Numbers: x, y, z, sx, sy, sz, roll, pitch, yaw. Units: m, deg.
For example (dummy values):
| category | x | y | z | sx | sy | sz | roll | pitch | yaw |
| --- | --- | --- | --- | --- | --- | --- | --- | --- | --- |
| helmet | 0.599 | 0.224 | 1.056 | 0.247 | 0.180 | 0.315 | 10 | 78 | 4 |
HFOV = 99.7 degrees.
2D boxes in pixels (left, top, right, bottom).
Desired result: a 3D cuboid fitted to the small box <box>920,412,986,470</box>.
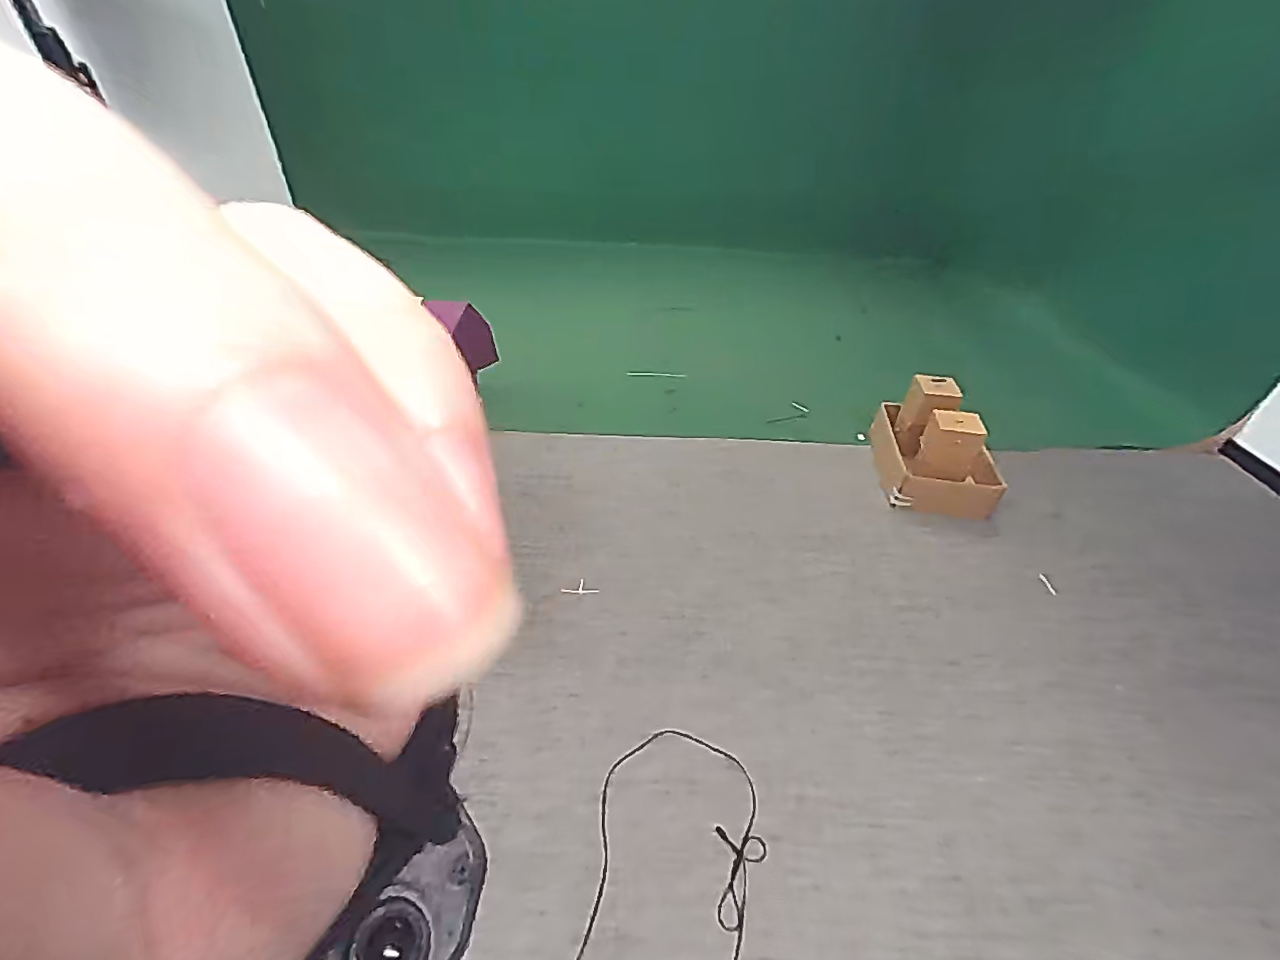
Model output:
| category | x | y | z | sx | sy | sz | roll | pitch | yaw |
| --- | --- | --- | --- | --- | --- | --- | --- | --- | --- |
| small box | 1.297 | -0.159 | 2.251 | 0.179 | 0.176 | 0.168 | 9 | 39 | 11 |

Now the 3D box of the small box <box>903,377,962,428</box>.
| category | x | y | z | sx | sy | sz | roll | pitch | yaw |
| --- | --- | --- | --- | --- | --- | --- | --- | --- | --- |
| small box | 1.334 | -0.350 | 2.481 | 0.168 | 0.176 | 0.179 | 7 | 40 | 5 |

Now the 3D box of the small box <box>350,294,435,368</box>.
| category | x | y | z | sx | sy | sz | roll | pitch | yaw |
| --- | --- | --- | --- | --- | --- | --- | --- | --- | --- |
| small box | -0.754 | -0.458 | 1.671 | 0.179 | 0.176 | 0.168 | 2 | 39 | 0 |
